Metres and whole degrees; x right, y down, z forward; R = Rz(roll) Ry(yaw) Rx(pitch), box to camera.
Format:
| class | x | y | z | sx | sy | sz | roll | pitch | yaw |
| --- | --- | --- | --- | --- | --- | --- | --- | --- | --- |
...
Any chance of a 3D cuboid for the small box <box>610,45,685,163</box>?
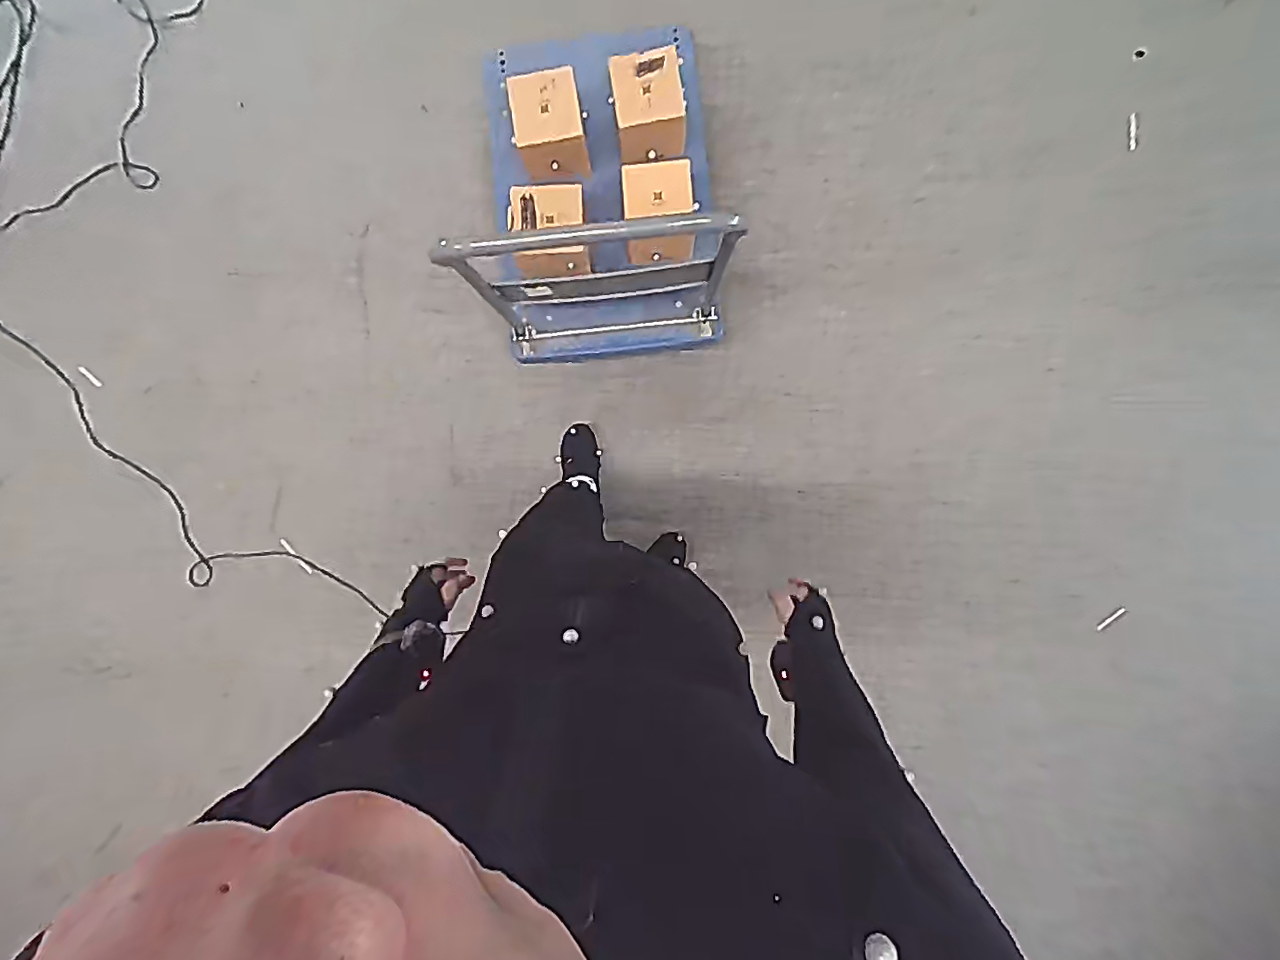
| class | x | y | z | sx | sy | sz | roll | pitch | yaw |
| --- | --- | --- | --- | --- | --- | --- | --- | --- | --- |
| small box | 0.020 | -0.952 | 1.385 | 0.168 | 0.176 | 0.179 | -9 | 90 | 3 |

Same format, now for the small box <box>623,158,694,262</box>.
| class | x | y | z | sx | sy | sz | roll | pitch | yaw |
| --- | --- | --- | --- | --- | --- | --- | --- | --- | --- |
| small box | 0.046 | -0.683 | 1.381 | 0.168 | 0.176 | 0.179 | -5 | 89 | 2 |

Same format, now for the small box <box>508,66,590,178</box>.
| class | x | y | z | sx | sy | sz | roll | pitch | yaw |
| --- | --- | --- | --- | --- | --- | --- | --- | --- | --- |
| small box | -0.228 | -0.910 | 1.396 | 0.168 | 0.176 | 0.179 | -9 | 89 | 2 |
